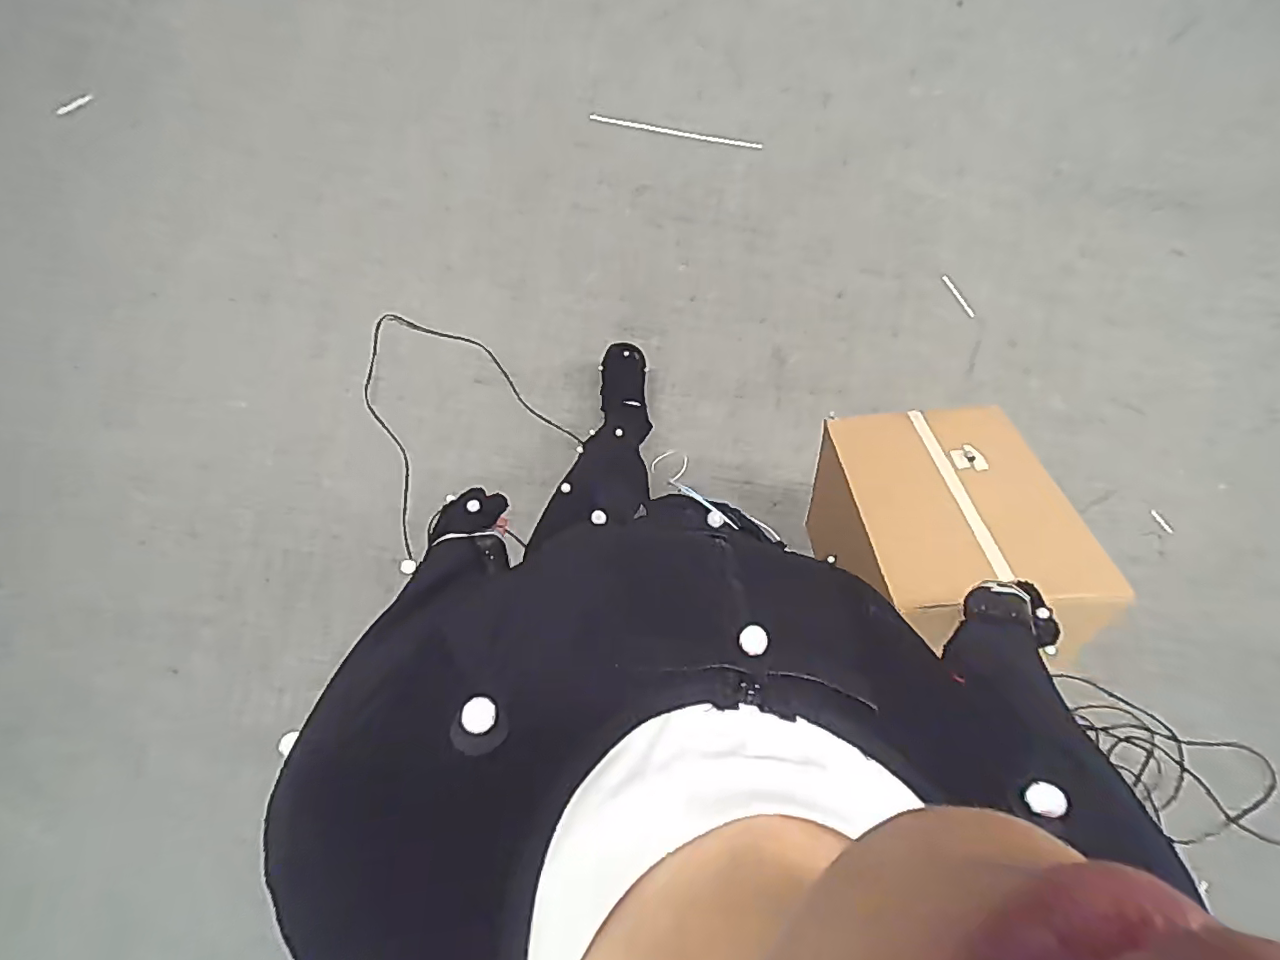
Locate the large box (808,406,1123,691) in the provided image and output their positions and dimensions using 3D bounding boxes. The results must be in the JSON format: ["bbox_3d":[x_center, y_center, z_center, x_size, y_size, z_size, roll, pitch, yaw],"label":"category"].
[{"bbox_3d":[0.518,0.119,0.981,0.320,0.320,0.408,-4,45,3],"label":"large box"}]
